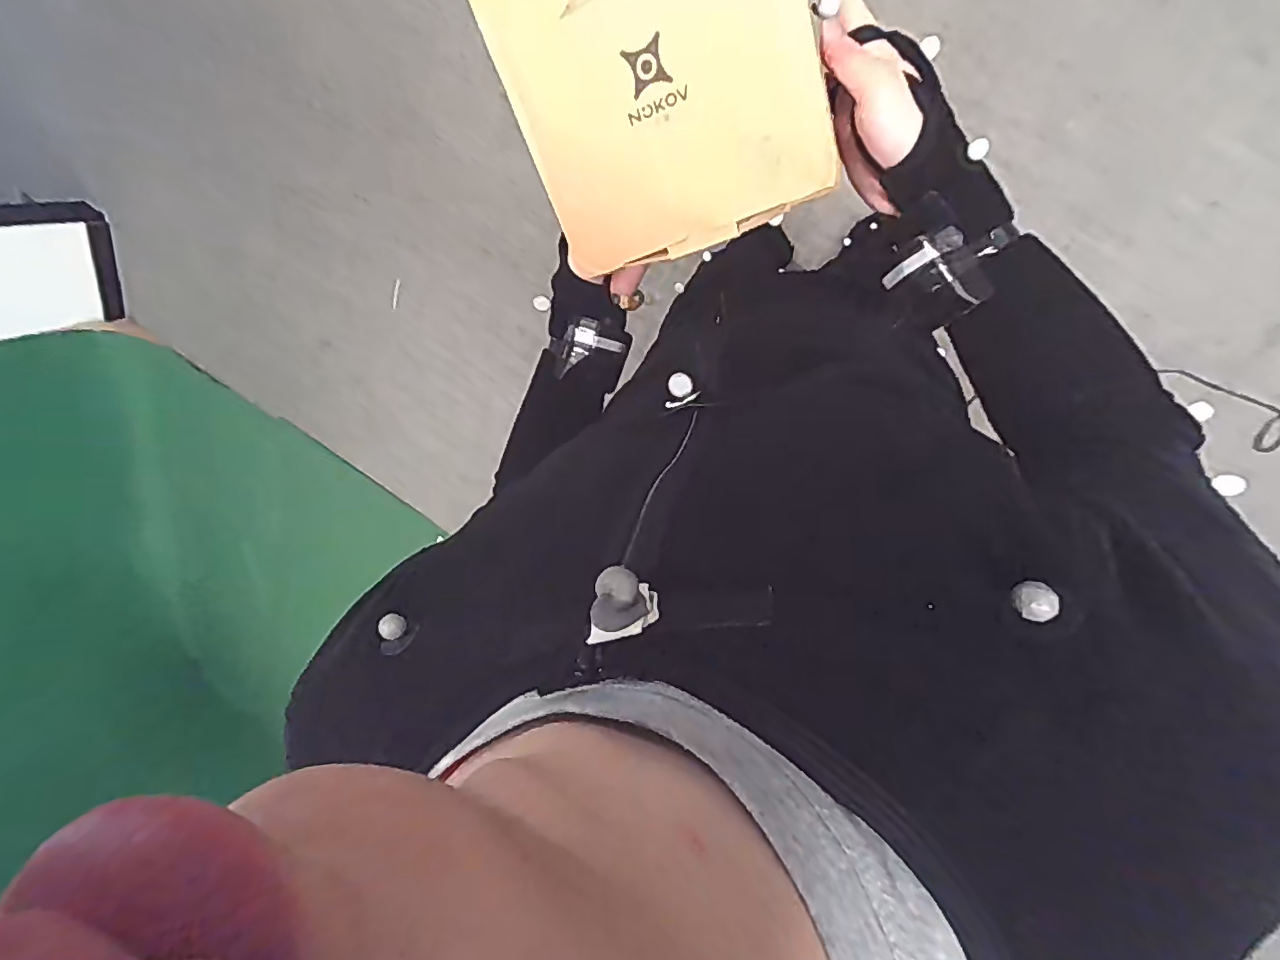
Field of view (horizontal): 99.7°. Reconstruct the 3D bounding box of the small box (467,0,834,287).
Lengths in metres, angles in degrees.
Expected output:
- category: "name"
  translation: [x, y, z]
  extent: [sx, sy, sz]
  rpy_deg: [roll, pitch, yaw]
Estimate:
- category: "small box"
  translation: [0.028, -0.255, 0.355]
  extent: [0.168, 0.176, 0.179]
  rpy_deg: [-11, 117, 25]
